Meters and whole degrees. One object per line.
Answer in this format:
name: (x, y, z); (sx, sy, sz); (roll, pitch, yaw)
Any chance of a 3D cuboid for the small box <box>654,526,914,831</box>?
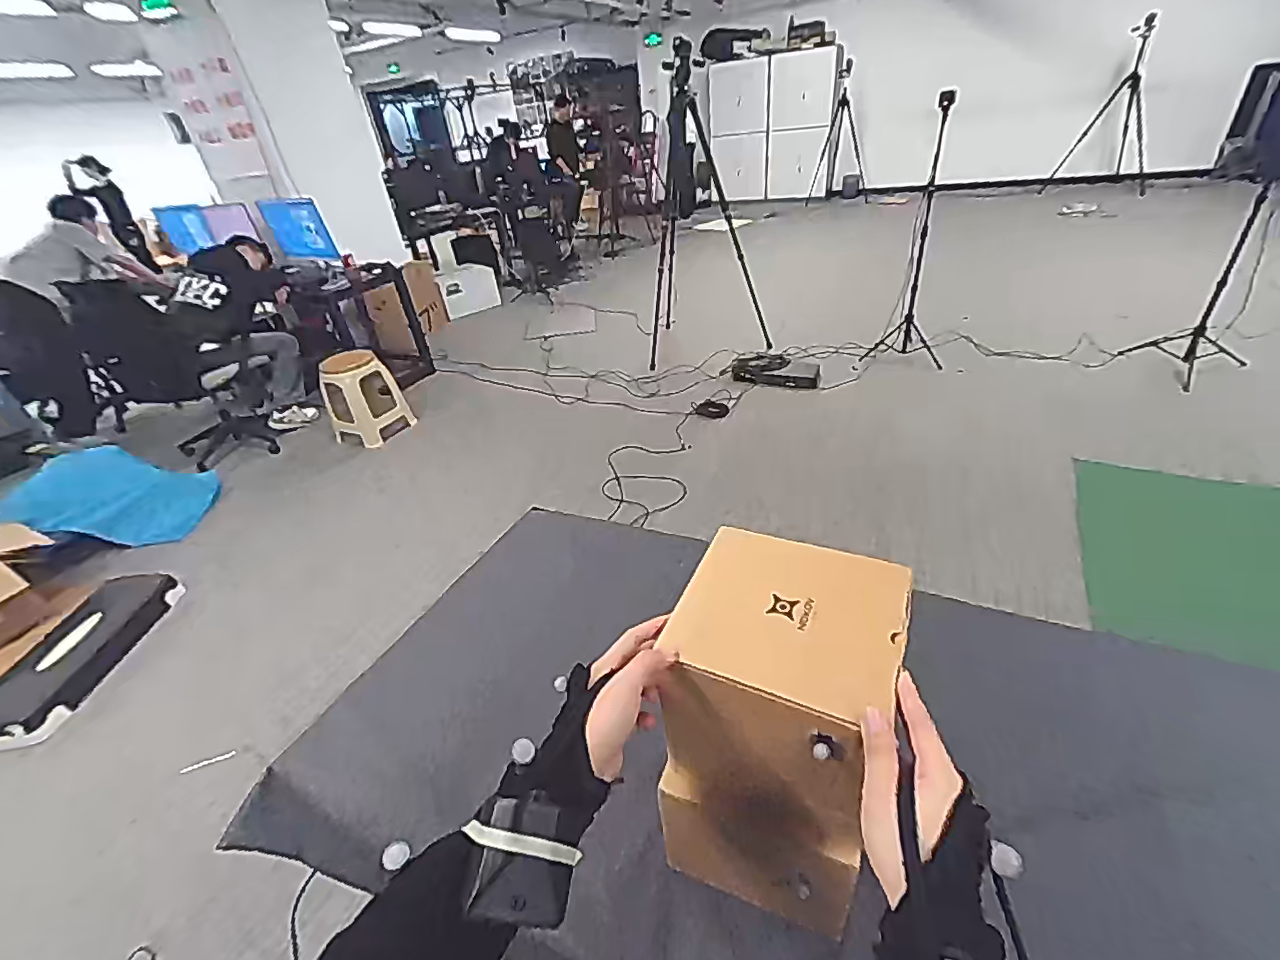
small box: (0.129, 0.170, 0.484); (0.179, 0.176, 0.168); (12, 38, 25)
